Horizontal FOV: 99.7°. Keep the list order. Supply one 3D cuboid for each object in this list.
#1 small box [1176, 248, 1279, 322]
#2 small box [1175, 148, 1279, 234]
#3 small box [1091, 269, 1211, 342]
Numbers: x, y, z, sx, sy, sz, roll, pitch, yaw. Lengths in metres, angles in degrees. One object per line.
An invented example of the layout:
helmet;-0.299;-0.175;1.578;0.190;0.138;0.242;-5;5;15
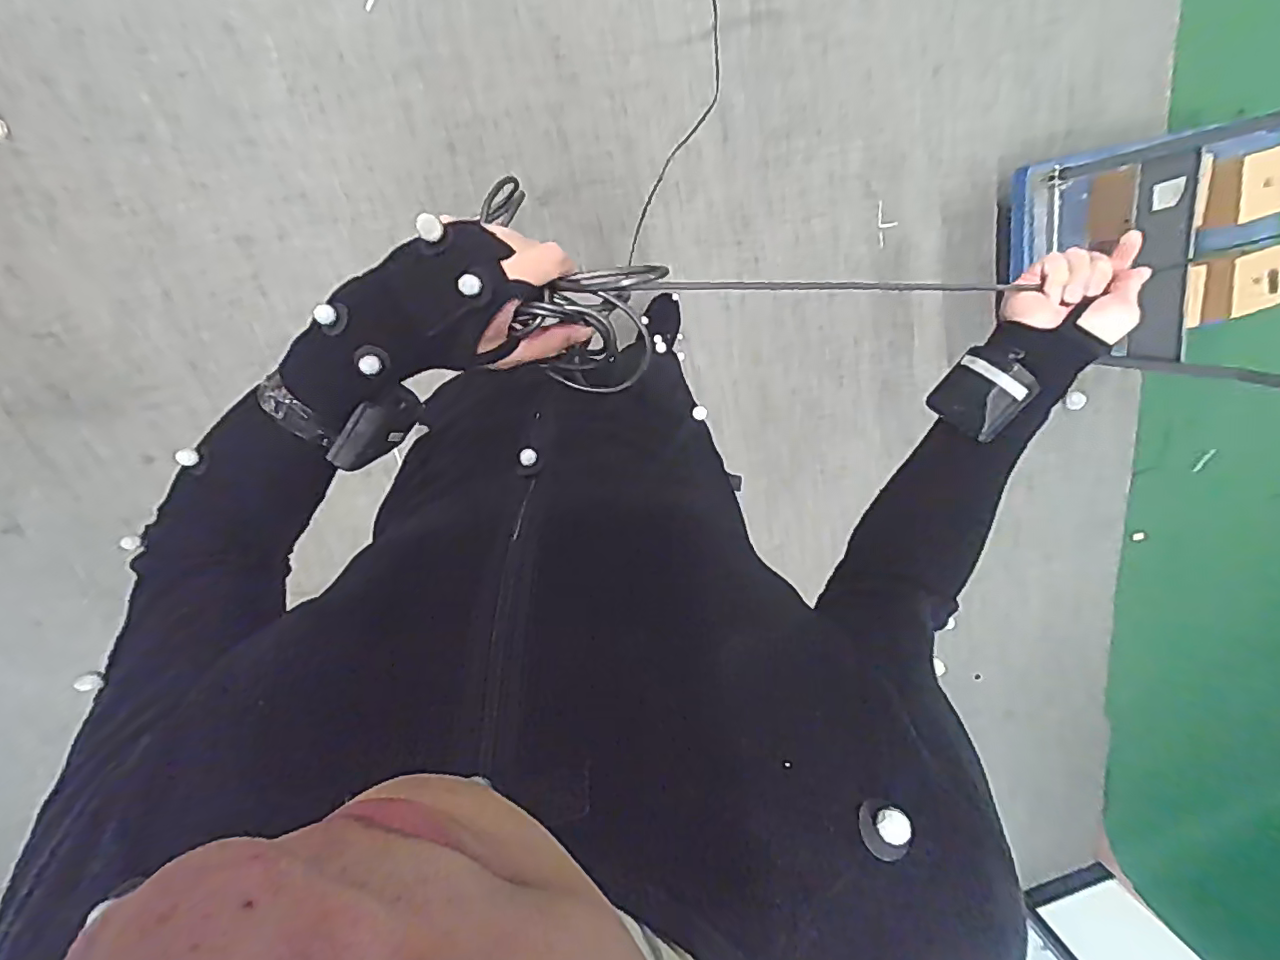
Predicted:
small box;1.696;-0.560;1.558;0.179;0.176;0.168;-18;108;-4
small box;1.628;-0.789;1.479;0.179;0.176;0.168;-18;109;-5
small box;1.436;-0.493;1.529;0.179;0.176;0.168;-13;108;-6
